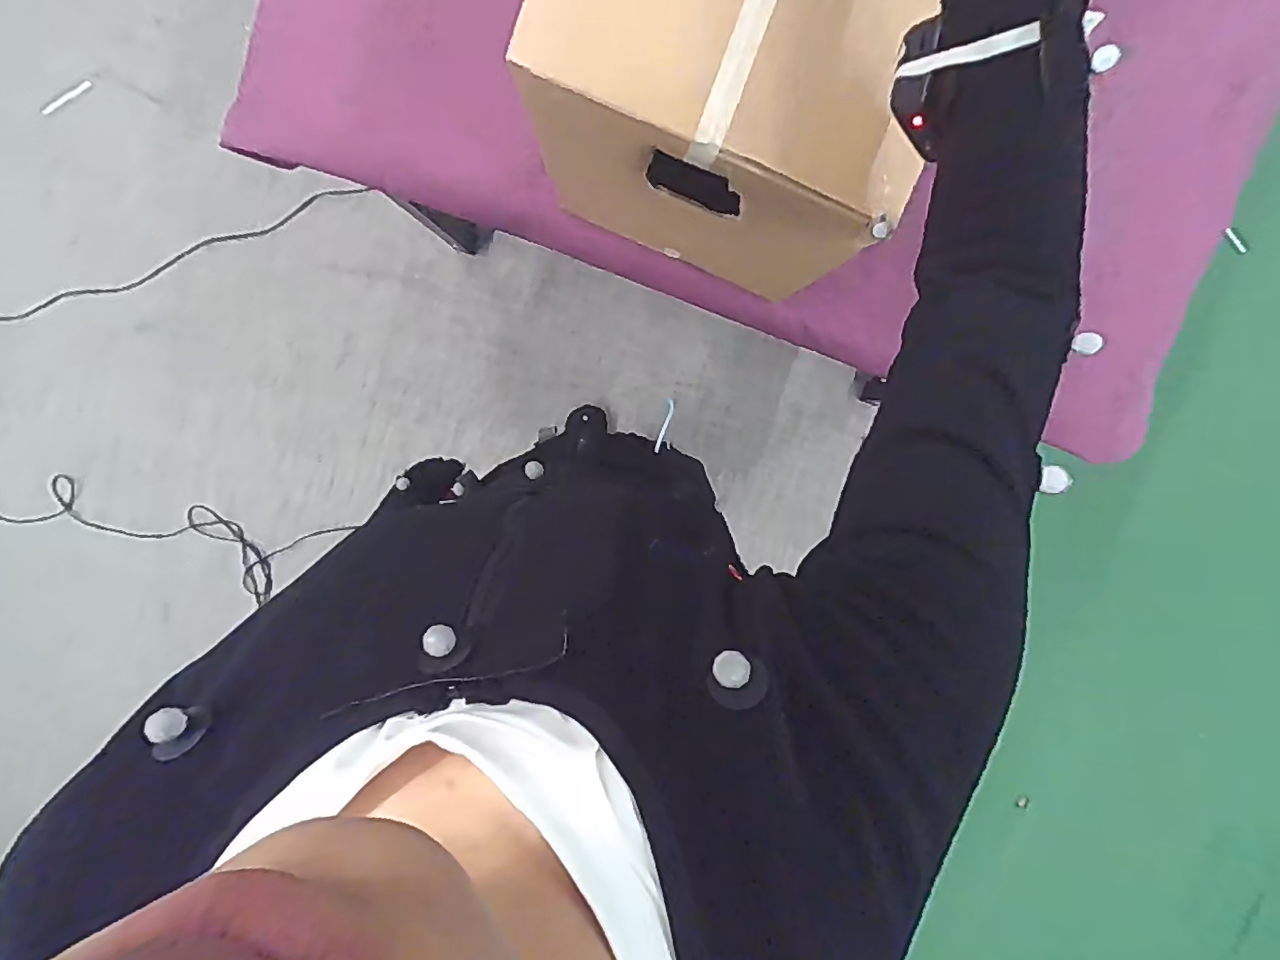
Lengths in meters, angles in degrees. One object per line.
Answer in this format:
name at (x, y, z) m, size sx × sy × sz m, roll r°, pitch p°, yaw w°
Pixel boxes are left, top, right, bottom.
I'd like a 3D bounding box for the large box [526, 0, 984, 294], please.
large box at (0.119, -0.457, 0.538) m, size 0.320 × 0.320 × 0.408 m, roll 22°, pitch 98°, yaw -4°
